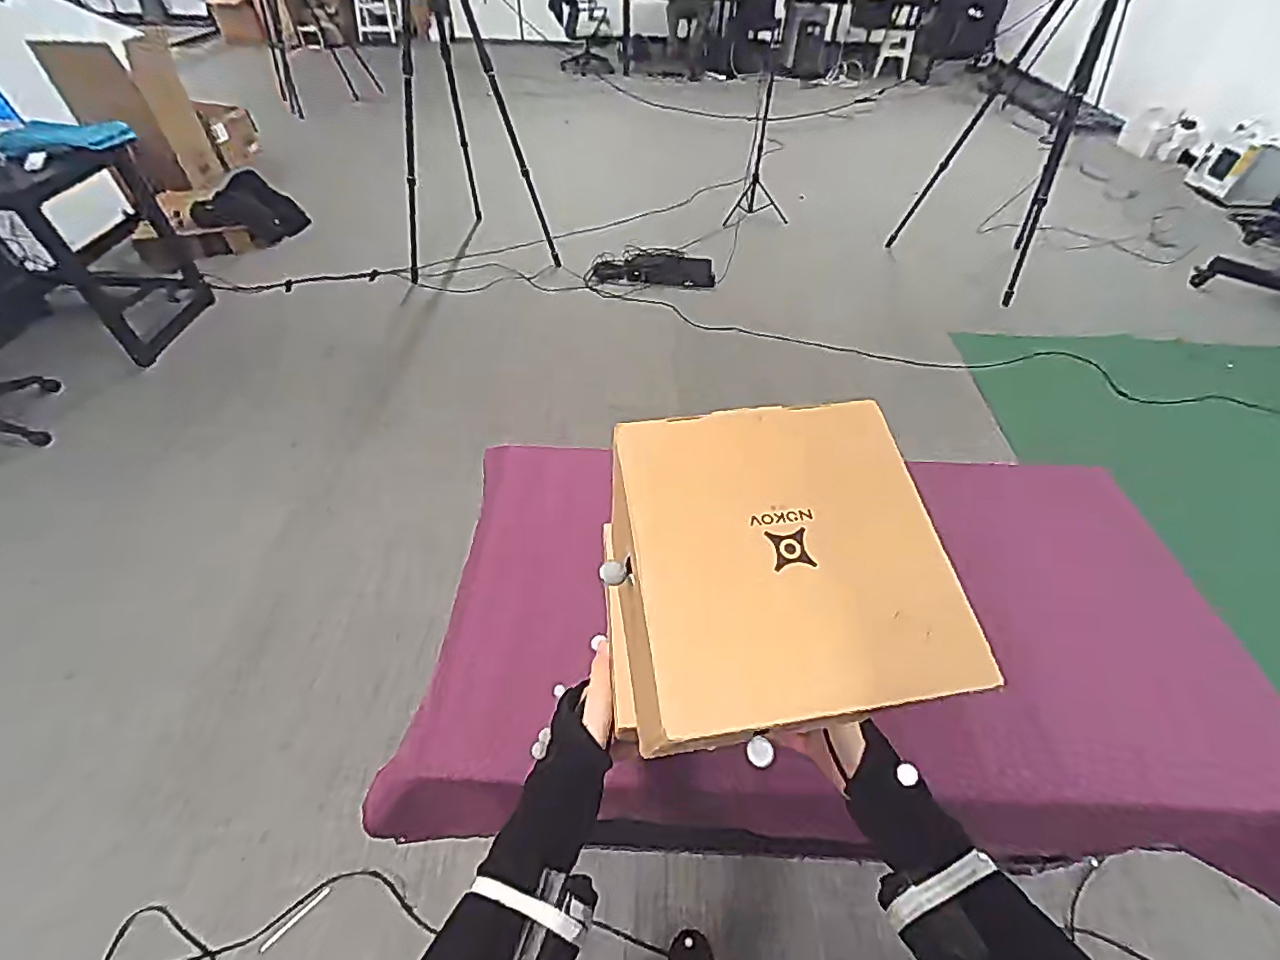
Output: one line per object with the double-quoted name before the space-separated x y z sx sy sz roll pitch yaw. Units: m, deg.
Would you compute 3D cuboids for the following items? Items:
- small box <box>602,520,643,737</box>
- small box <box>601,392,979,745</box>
"small box" 0.056 0.139 0.506 0.179 0.176 0.168 -4 60 -4
"small box" 0.068 0.069 0.359 0.168 0.176 0.179 -7 60 -6
